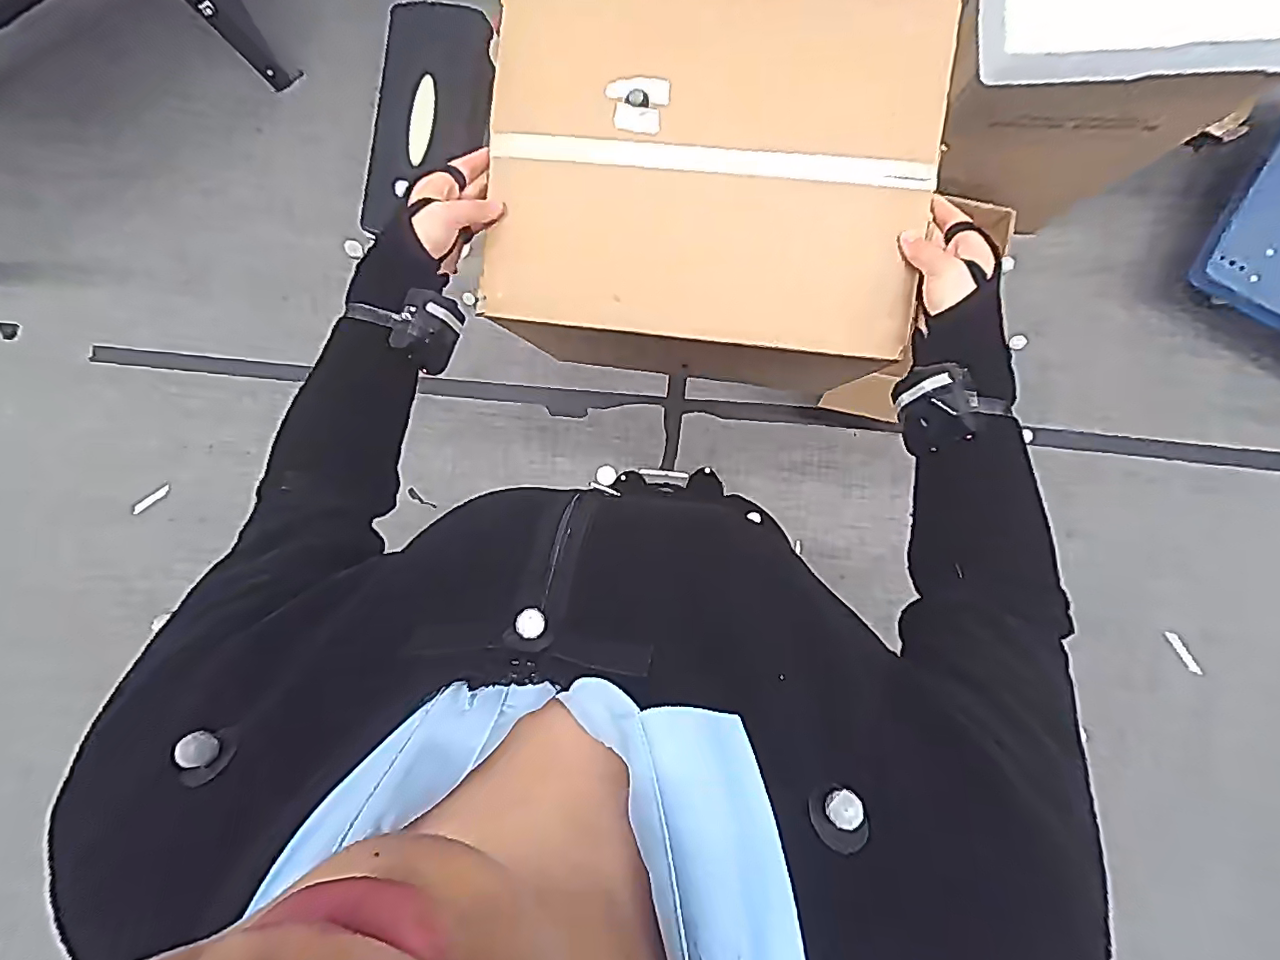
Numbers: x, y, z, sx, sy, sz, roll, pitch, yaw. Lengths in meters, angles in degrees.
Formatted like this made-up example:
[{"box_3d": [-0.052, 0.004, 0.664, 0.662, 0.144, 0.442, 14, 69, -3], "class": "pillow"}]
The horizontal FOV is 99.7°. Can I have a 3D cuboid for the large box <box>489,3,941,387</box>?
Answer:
[{"box_3d": [0.076, -0.296, 0.658, 0.408, 0.320, 0.320, 7, 93, 6], "class": "large box"}]
